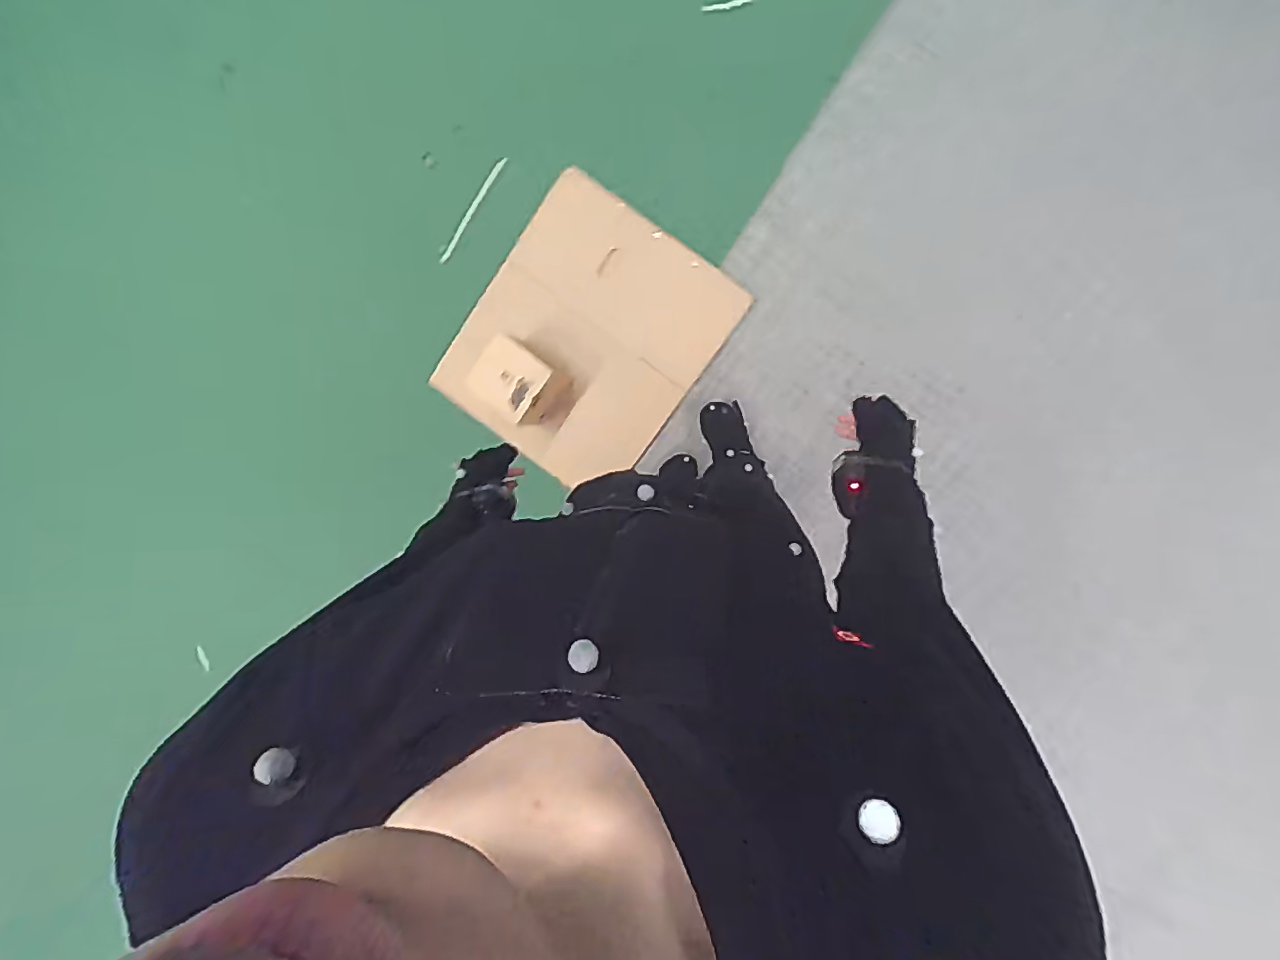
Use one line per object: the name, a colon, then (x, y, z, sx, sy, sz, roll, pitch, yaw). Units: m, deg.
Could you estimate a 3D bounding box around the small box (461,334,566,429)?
small box: (-0.317, -0.248, 1.393, 0.179, 0.176, 0.168, 37, 99, 3)
